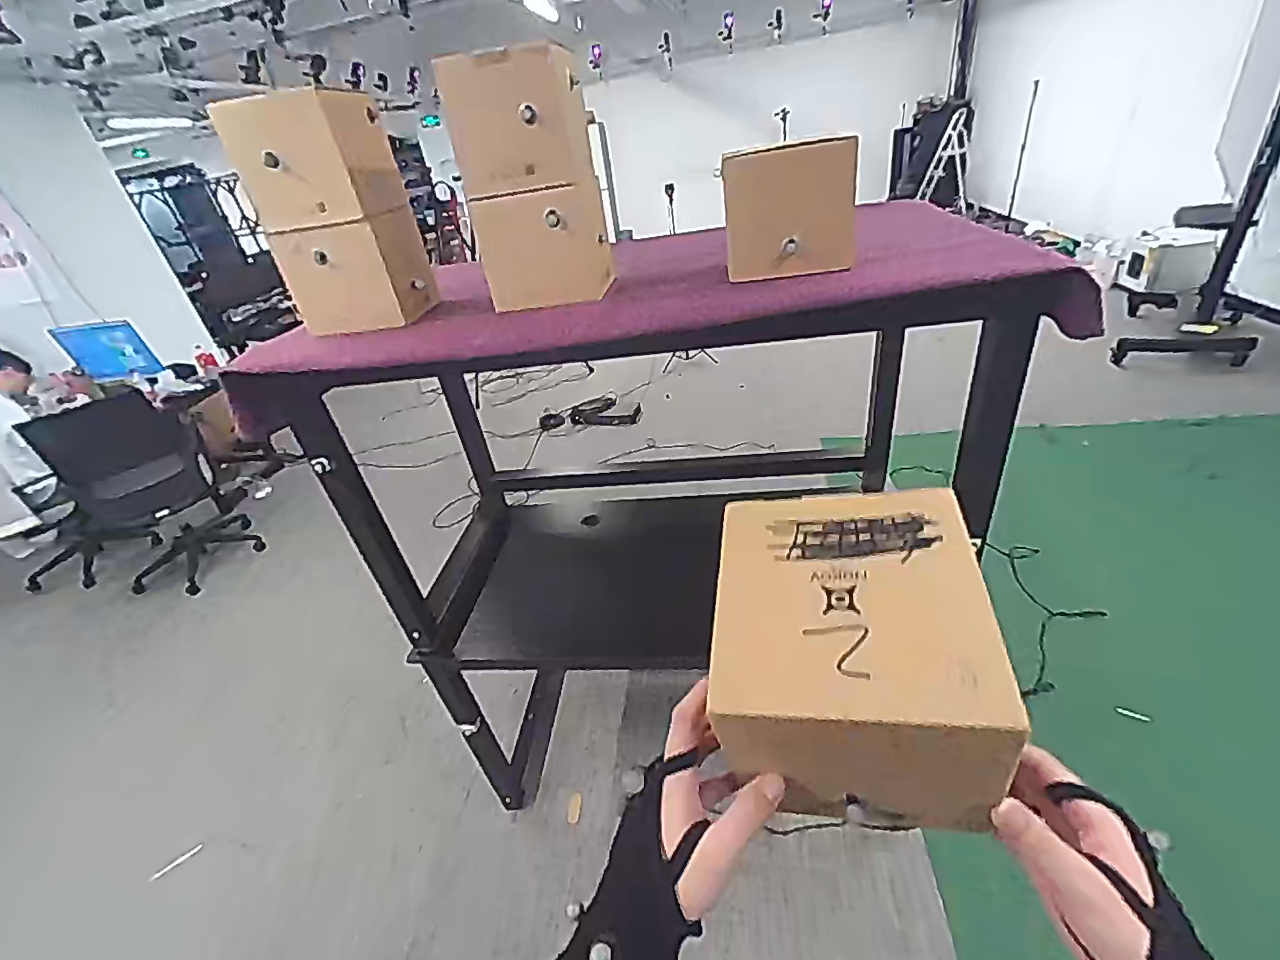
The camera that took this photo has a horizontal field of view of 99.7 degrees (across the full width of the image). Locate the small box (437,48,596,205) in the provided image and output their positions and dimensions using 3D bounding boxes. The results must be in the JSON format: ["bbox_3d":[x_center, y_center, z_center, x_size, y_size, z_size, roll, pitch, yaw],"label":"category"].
[{"bbox_3d":[-0.170,-0.521,0.816,0.168,0.176,0.179,-3,32,10],"label":"small box"}]

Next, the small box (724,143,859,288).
[{"bbox_3d":[0.220,-0.402,0.822,0.179,0.176,0.168,-3,30,11],"label":"small box"}]

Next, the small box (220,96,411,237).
[{"bbox_3d":[-0.496,-0.491,0.862,0.168,0.176,0.179,-6,31,7],"label":"small box"}]

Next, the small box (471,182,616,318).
[{"bbox_3d":[-0.145,-0.380,0.893,0.179,0.176,0.168,-4,31,11],"label":"small box"}]

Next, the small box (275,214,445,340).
[{"bbox_3d":[-0.472,-0.352,0.943,0.179,0.176,0.168,-4,32,7],"label":"small box"}]
